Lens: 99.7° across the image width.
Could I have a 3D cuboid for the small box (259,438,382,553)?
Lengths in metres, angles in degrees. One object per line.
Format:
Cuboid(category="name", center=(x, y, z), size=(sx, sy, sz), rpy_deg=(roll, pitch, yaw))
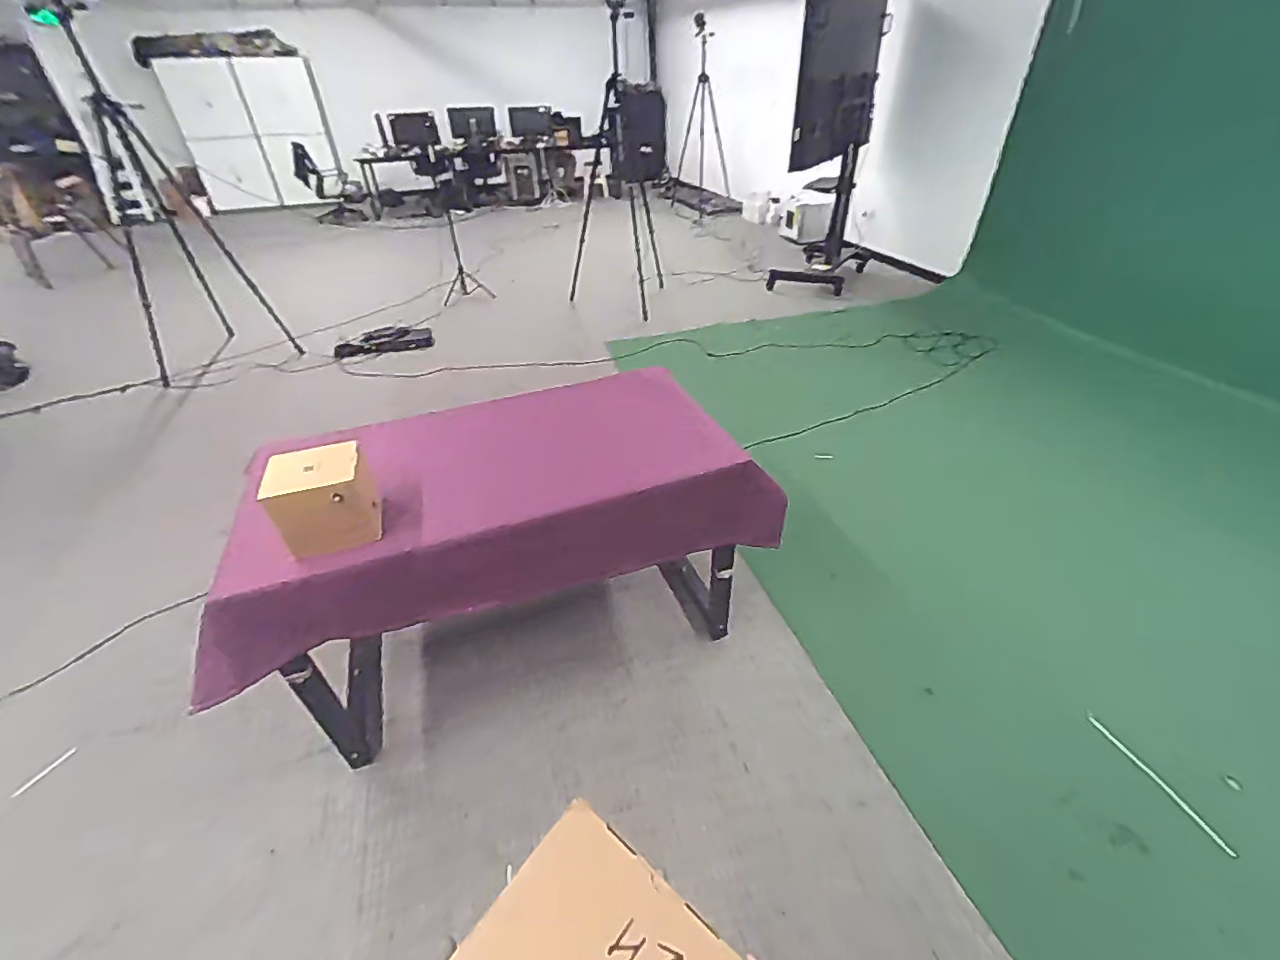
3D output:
Cuboid(category="small box", center=(-0.673, 0.035, 1.161), size=(0.179, 0.176, 0.168), rpy_deg=(-13, 38, -16))
